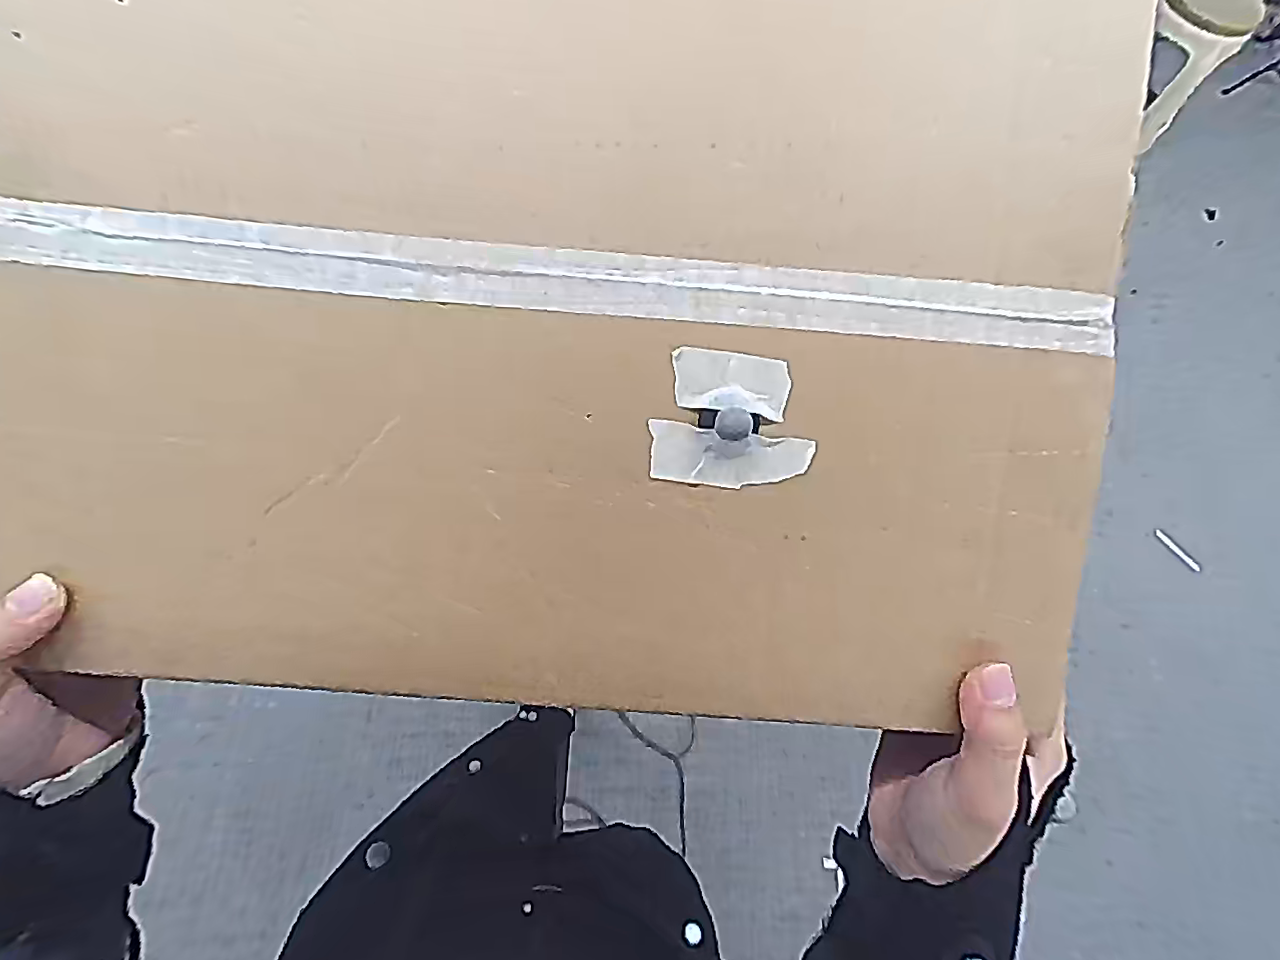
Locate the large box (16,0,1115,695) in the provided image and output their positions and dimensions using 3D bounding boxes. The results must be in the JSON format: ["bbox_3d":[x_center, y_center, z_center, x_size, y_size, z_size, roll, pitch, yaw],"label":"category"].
[{"bbox_3d":[-0.033,-0.084,0.354,0.408,0.320,0.320,4,95,-2],"label":"large box"}]
